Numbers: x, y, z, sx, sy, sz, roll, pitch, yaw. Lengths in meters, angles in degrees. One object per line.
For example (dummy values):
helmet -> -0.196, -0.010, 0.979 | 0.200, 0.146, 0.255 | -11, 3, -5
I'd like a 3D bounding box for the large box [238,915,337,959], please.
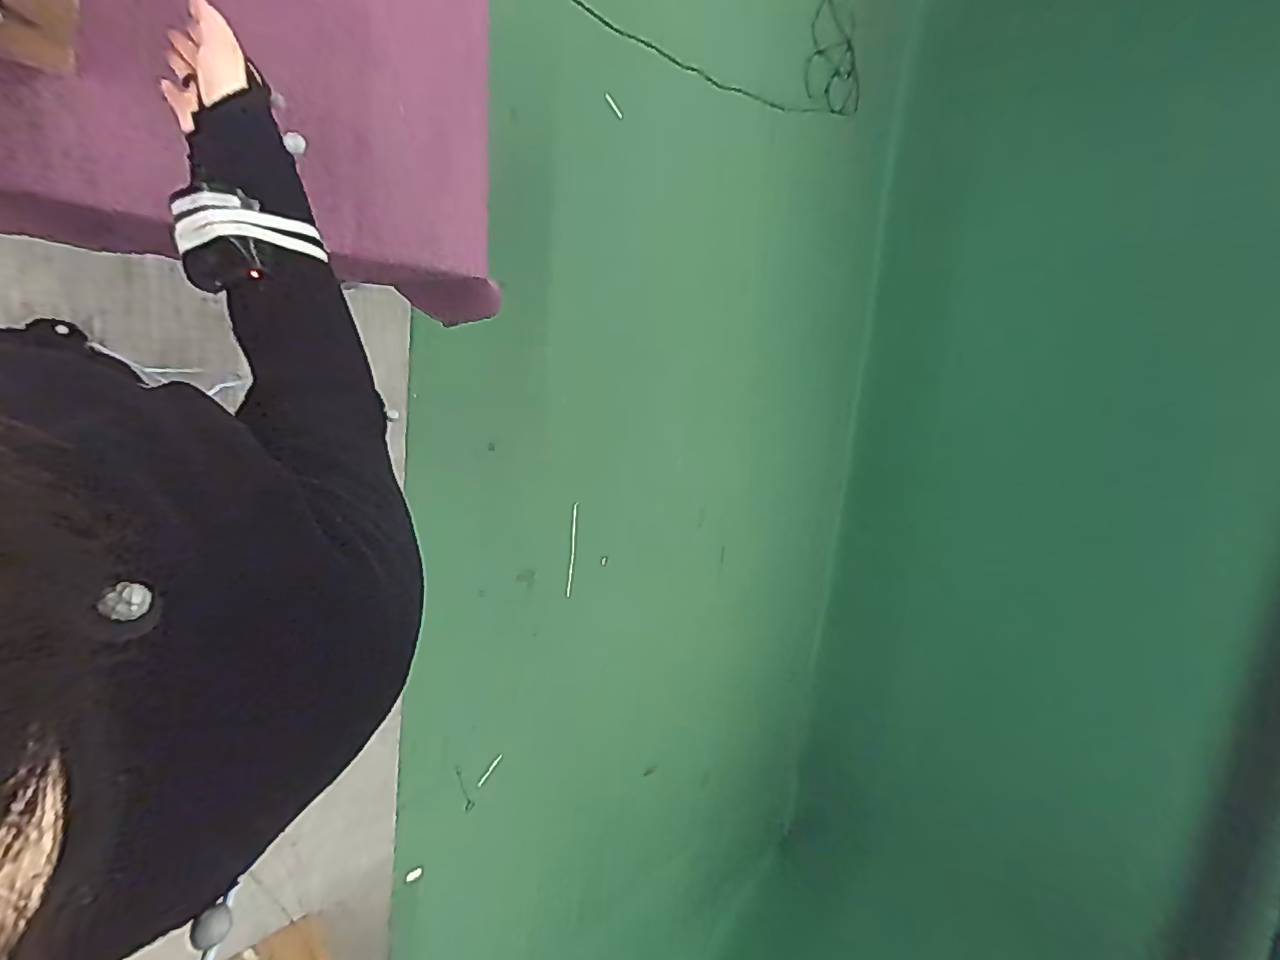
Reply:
large box -> -0.957, 1.496, 1.411 | 0.320, 0.320, 0.408 | -6, 105, -47
